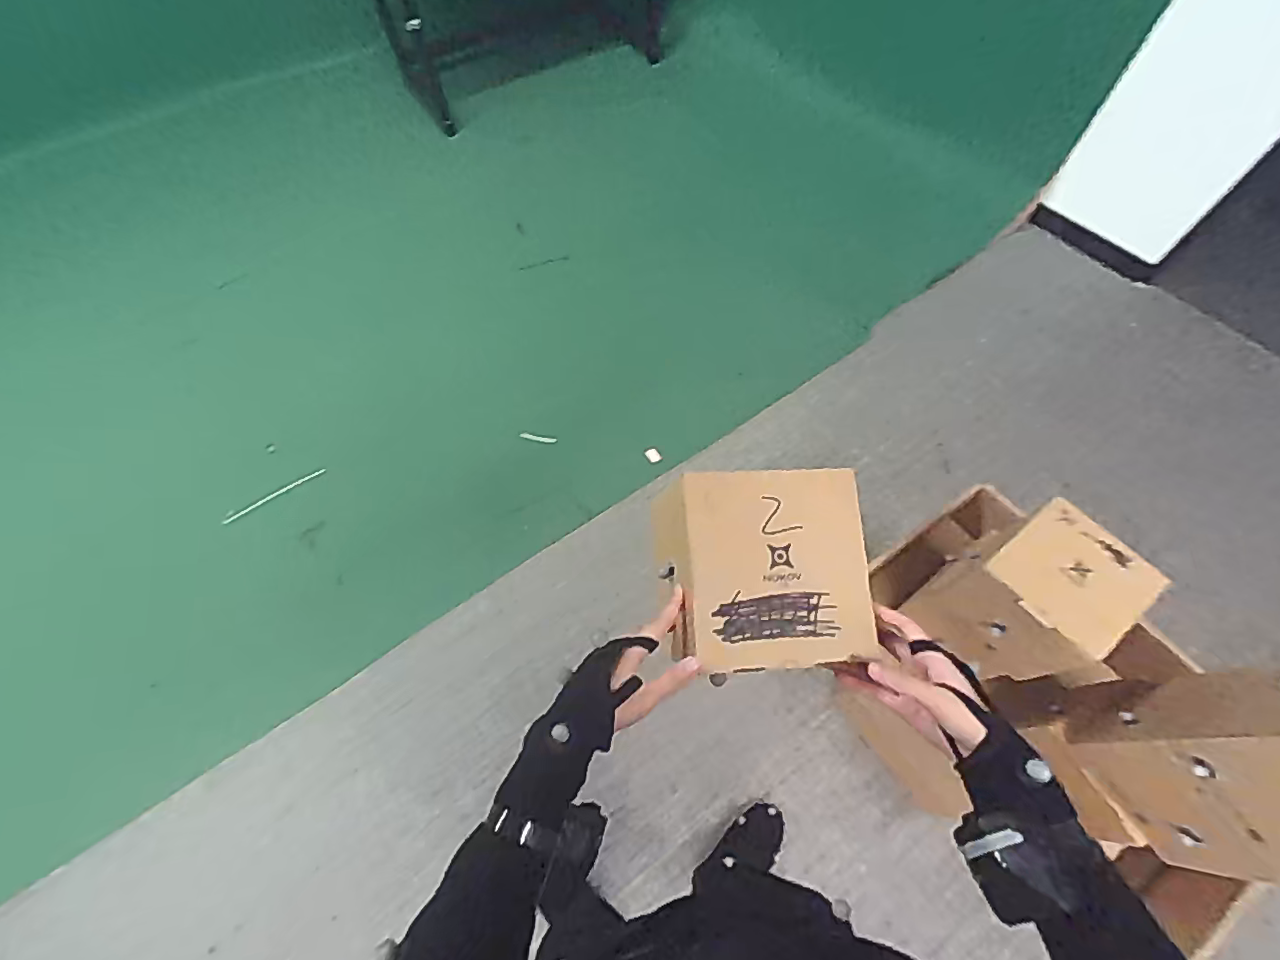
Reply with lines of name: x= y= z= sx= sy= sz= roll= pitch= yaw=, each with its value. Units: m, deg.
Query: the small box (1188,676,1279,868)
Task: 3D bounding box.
small box: x=0.714 y=0.293 z=0.528 sx=0.179 sy=0.176 sz=0.168 roll=-23 pitch=65 yaw=-10

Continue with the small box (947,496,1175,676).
small box: x=0.586 y=0.161 z=0.785 sx=0.179 sy=0.176 sz=0.168 roll=-35 pitch=67 yaw=-14

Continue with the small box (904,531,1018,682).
small box: x=0.599 y=0.223 z=0.937 sx=0.179 sy=0.176 sz=0.168 roll=-35 pitch=66 yaw=-15

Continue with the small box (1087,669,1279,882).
small box: x=0.721 y=0.364 z=0.675 sx=0.179 sy=0.176 sz=0.168 roll=-26 pitch=65 yaw=-11
